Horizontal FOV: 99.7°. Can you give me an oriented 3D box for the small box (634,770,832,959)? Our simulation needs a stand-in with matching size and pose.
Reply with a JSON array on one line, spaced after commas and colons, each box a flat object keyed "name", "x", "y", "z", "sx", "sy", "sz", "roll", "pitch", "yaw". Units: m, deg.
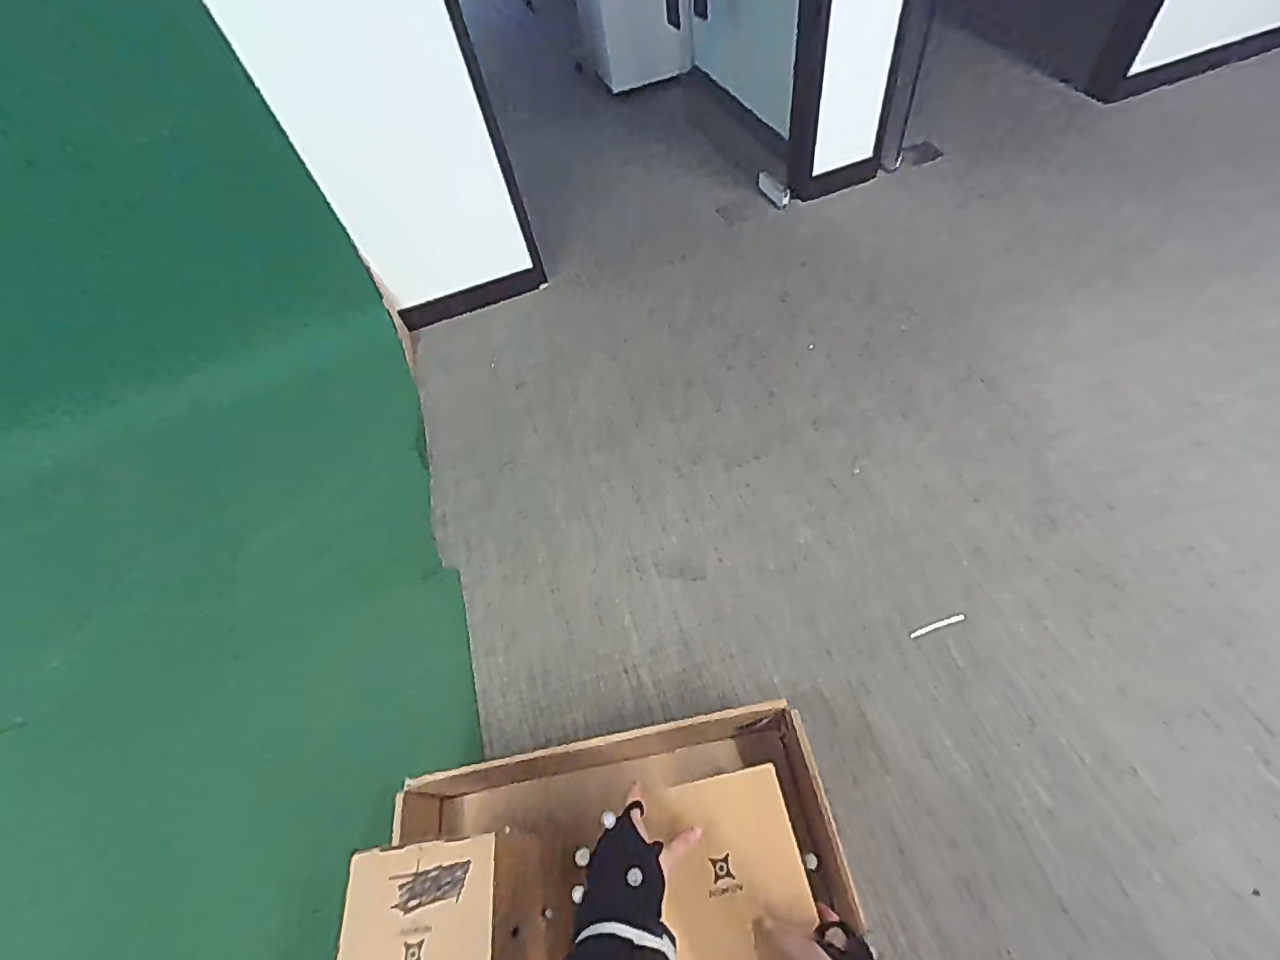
[{"name": "small box", "x": 0.097, "y": 0.449, "z": 0.611, "sx": 0.168, "sy": 0.176, "sz": 0.179, "roll": -14, "pitch": 56, "yaw": 1}]

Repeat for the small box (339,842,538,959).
[{"name": "small box", "x": -0.217, "y": 0.526, "z": 0.612, "sx": 0.168, "sy": 0.176, "sz": 0.179, "roll": -9, "pitch": 56, "yaw": 2}]
